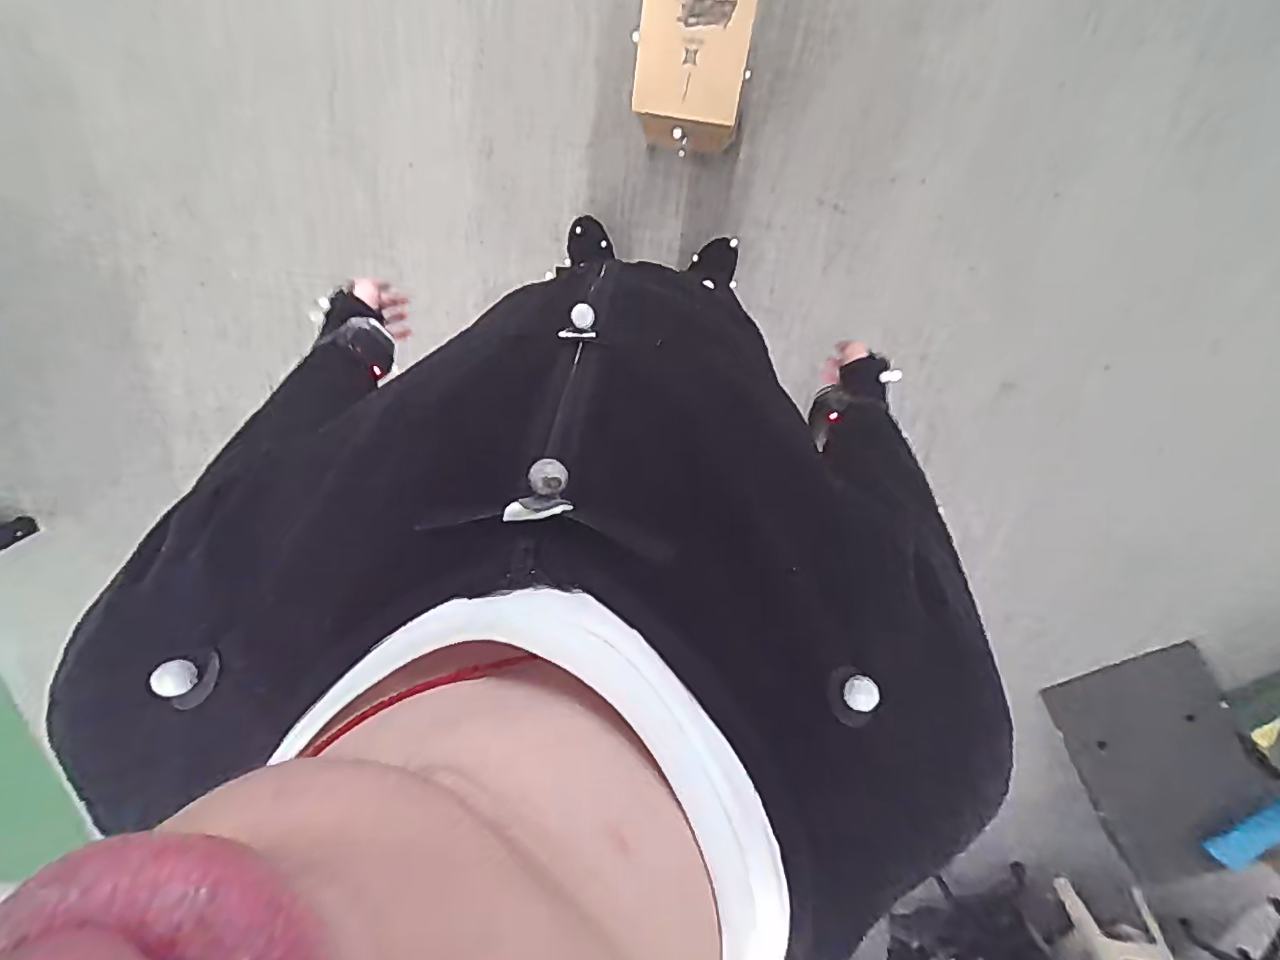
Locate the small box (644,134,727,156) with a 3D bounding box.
[{"bbox_3d":[0.108,-0.814,1.173,0.179,0.176,0.168,8,116,-1],"label":"small box"}]

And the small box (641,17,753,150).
[{"bbox_3d":[0.101,-0.740,1.029,0.179,0.176,0.168,7,117,-2],"label":"small box"}]
